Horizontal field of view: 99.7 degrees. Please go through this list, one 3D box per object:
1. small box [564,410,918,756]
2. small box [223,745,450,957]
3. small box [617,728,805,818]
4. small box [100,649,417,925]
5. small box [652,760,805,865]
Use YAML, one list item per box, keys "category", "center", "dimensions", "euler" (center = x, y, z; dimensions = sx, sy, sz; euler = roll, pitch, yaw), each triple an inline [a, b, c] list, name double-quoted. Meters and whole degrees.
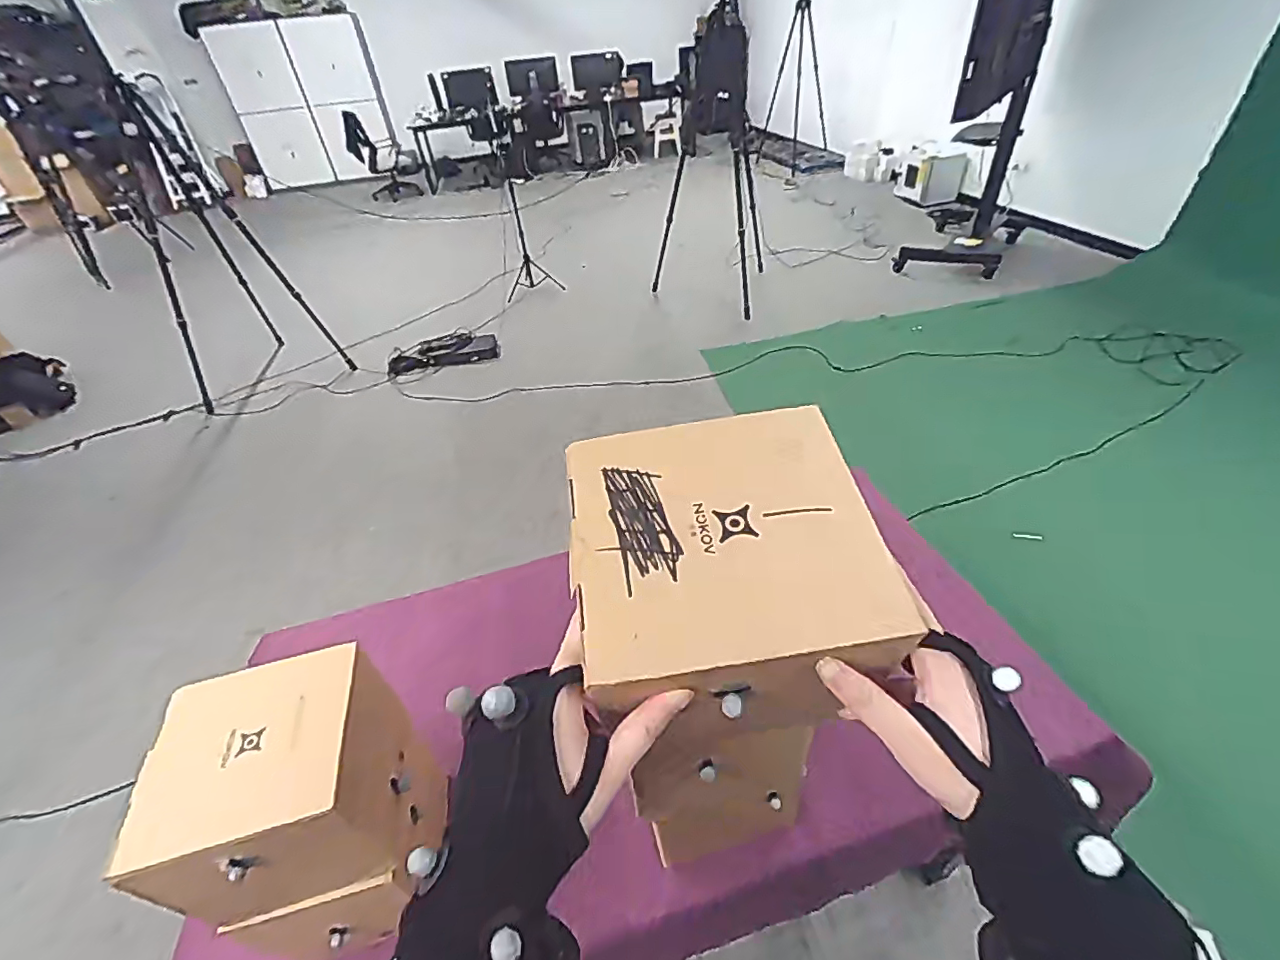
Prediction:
- category: "small box"
  center: [0.052, 0.078, 0.380]
  dimensions: [0.179, 0.176, 0.168]
  euler: [-9, 52, -2]
- category: "small box"
  center: [-0.333, 0.427, 0.640]
  dimensions: [0.168, 0.176, 0.179]
  euler: [-13, 41, -7]
- category: "small box"
  center: [0.064, 0.225, 0.567]
  dimensions: [0.179, 0.176, 0.168]
  euler: [-11, 40, -4]
- category: "small box"
  center: [-0.343, 0.302, 0.535]
  dimensions: [0.179, 0.176, 0.168]
  euler: [-14, 42, -8]
- category: "small box"
  center: [0.085, 0.346, 0.677]
  dimensions: [0.179, 0.176, 0.168]
  euler: [-14, 41, -8]
